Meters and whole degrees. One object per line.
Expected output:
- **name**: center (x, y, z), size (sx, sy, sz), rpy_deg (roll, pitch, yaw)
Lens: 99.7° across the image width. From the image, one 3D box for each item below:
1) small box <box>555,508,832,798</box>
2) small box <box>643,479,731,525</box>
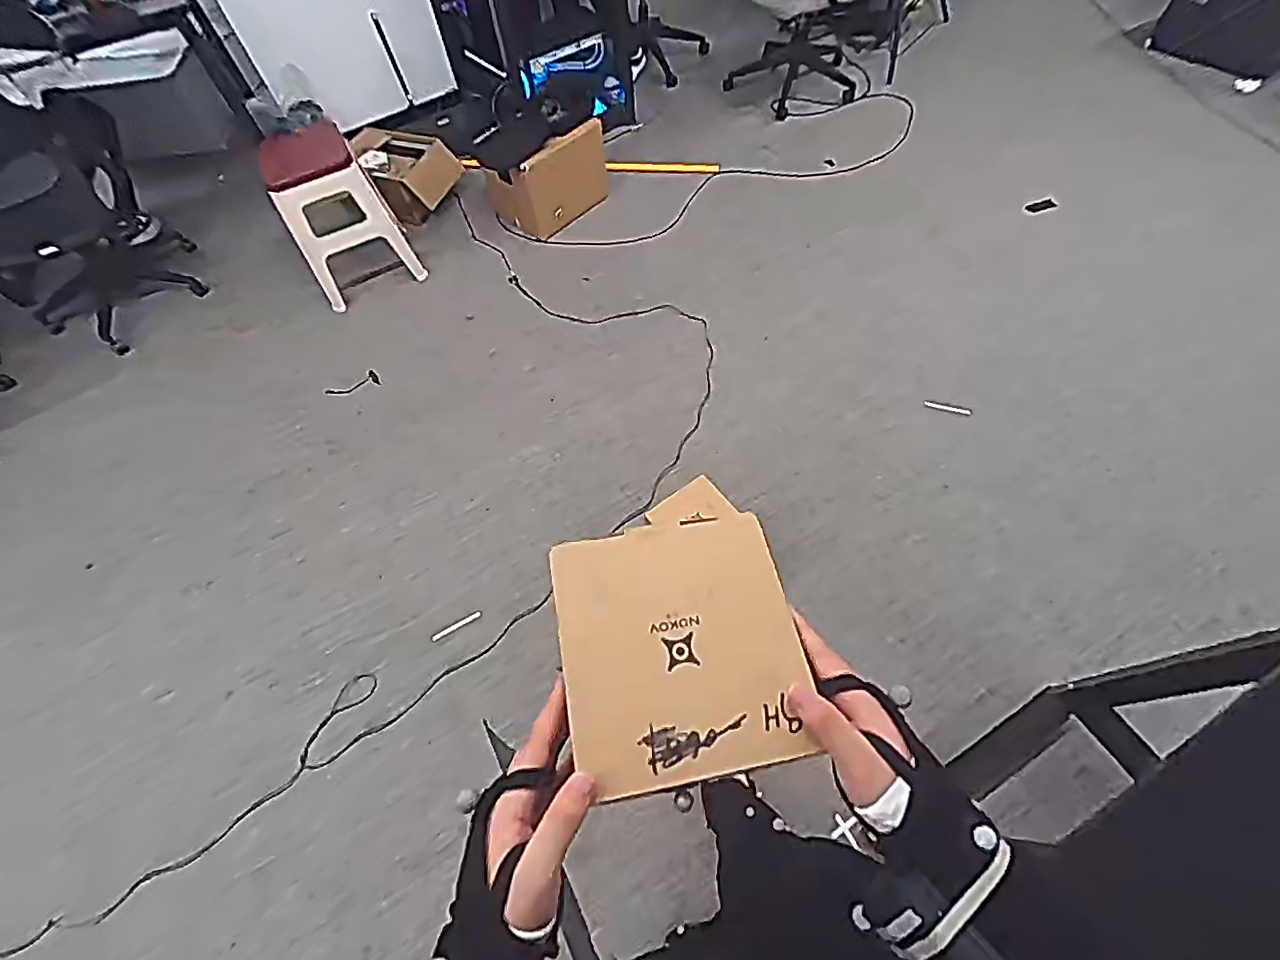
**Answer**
- **small box**: center (0.027, 0.148, 0.448), size (0.168, 0.176, 0.179), rpy_deg (-9, 59, -6)
- **small box**: center (0.128, 0.137, 1.285), size (0.179, 0.176, 0.168), rpy_deg (-34, 64, -16)
